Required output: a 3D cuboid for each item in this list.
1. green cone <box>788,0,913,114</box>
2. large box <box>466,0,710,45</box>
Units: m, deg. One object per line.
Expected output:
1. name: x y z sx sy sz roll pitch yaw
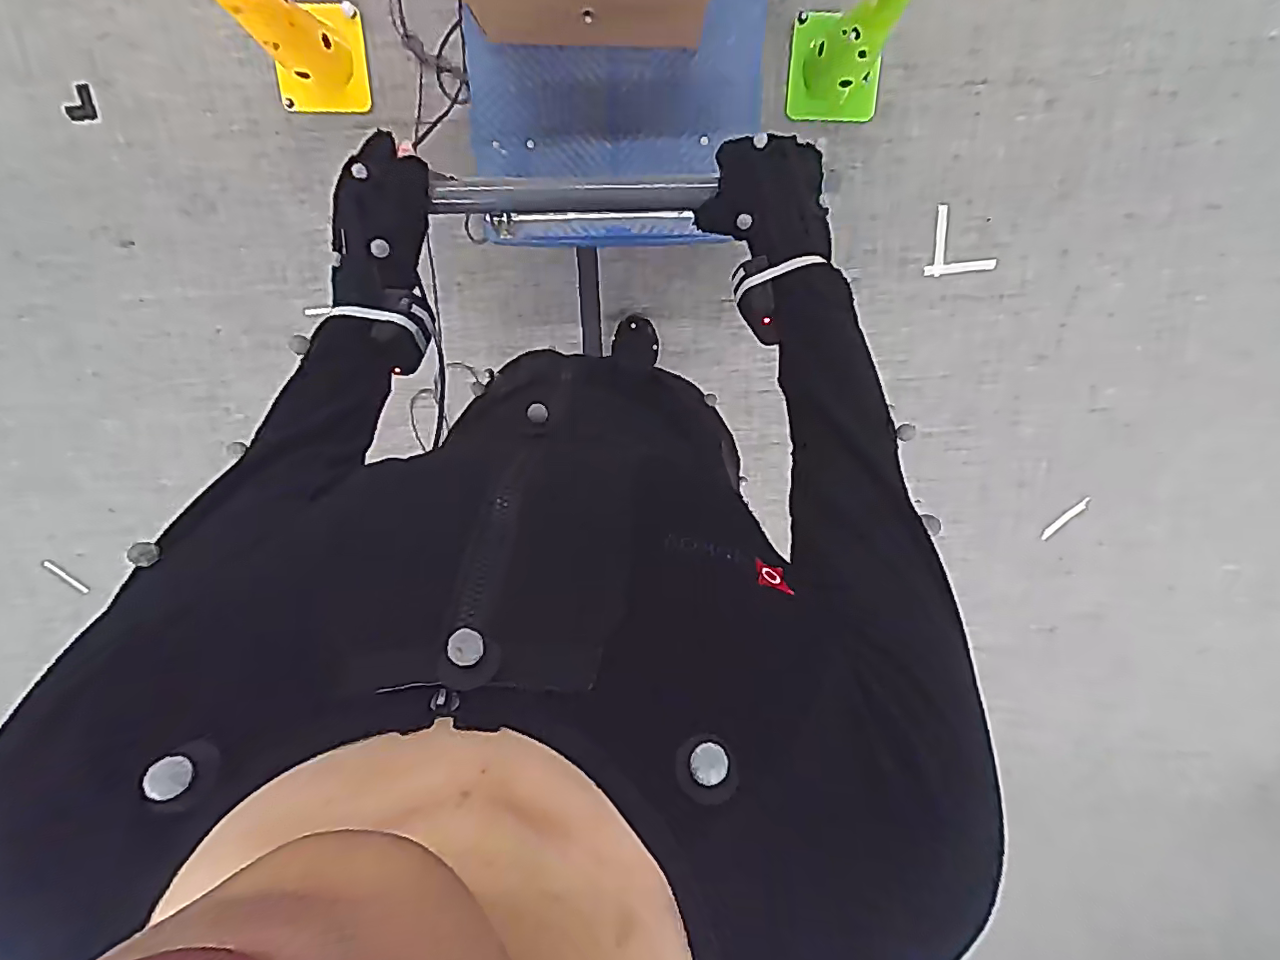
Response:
1. green cone: 0.434 -0.868 1.027 0.202 0.368 0.200 0 108 -1
2. large box: -0.085 -0.934 0.857 0.408 0.320 0.320 1 109 1
